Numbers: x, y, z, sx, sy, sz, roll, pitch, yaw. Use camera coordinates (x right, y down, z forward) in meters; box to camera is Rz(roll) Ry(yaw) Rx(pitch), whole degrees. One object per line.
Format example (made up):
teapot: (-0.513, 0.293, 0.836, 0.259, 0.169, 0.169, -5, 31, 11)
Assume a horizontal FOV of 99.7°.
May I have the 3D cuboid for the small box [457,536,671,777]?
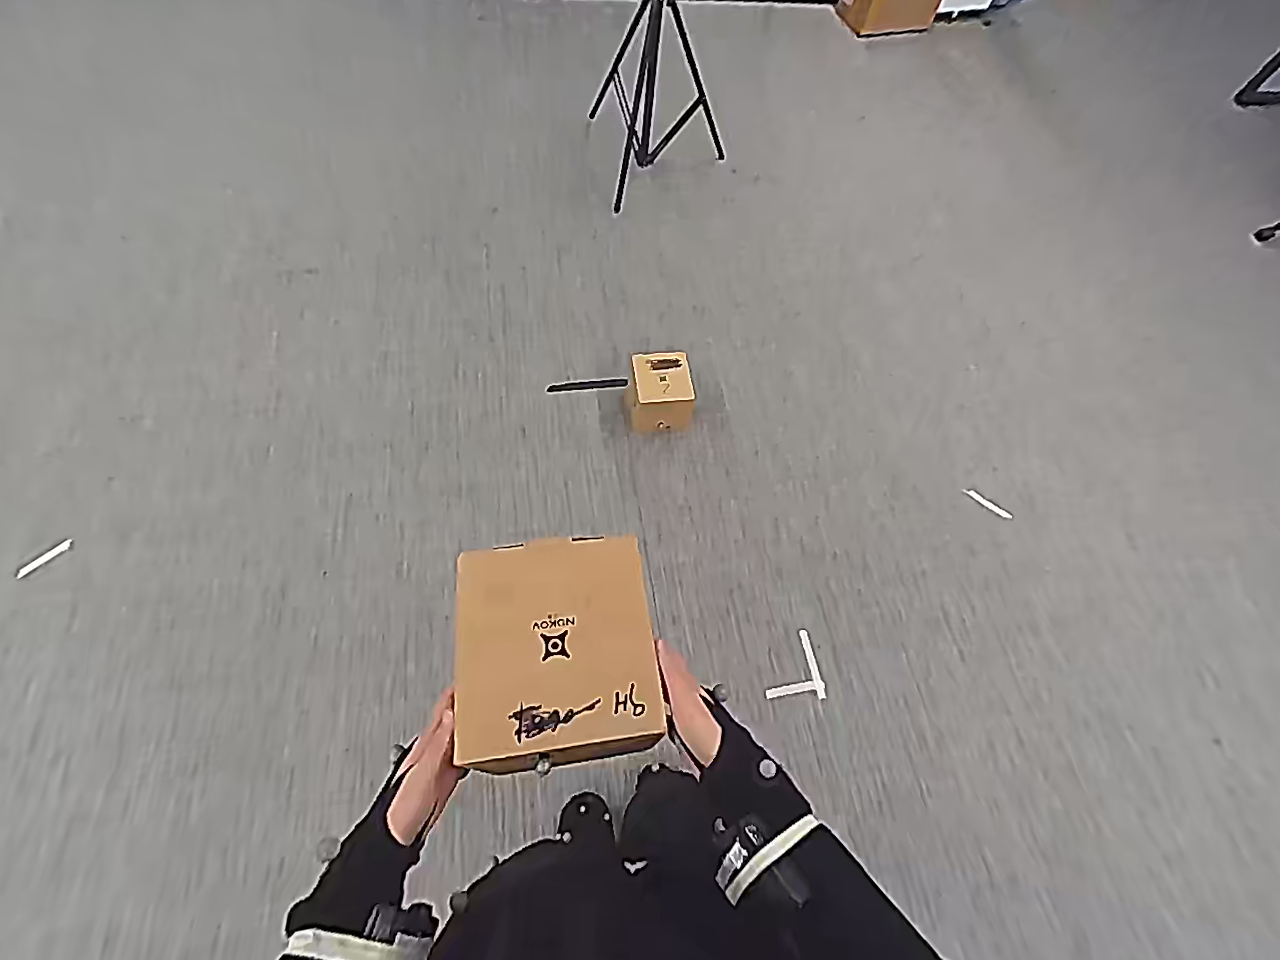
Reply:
small box: (-0.073, 0.174, 0.522, 0.168, 0.176, 0.179, -6, 60, -7)
